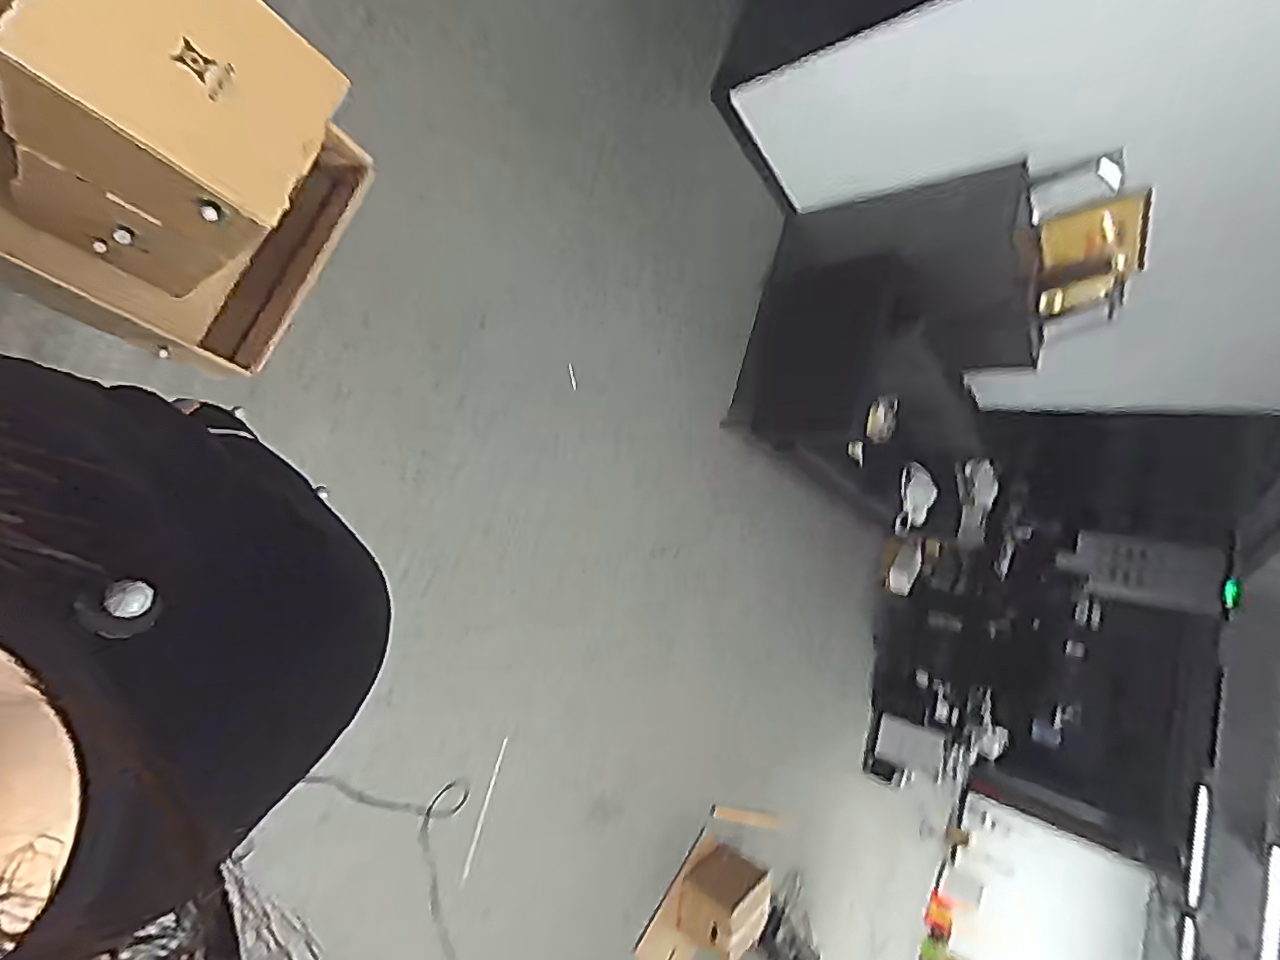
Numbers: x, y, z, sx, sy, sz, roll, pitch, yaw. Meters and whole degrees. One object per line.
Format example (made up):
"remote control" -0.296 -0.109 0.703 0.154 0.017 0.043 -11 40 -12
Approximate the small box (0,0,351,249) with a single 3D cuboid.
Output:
"small box" -0.408 -0.335 0.484 0.179 0.176 0.168 31 73 -46

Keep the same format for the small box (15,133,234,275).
"small box" -0.525 -0.353 0.597 0.168 0.176 0.179 30 75 -46
